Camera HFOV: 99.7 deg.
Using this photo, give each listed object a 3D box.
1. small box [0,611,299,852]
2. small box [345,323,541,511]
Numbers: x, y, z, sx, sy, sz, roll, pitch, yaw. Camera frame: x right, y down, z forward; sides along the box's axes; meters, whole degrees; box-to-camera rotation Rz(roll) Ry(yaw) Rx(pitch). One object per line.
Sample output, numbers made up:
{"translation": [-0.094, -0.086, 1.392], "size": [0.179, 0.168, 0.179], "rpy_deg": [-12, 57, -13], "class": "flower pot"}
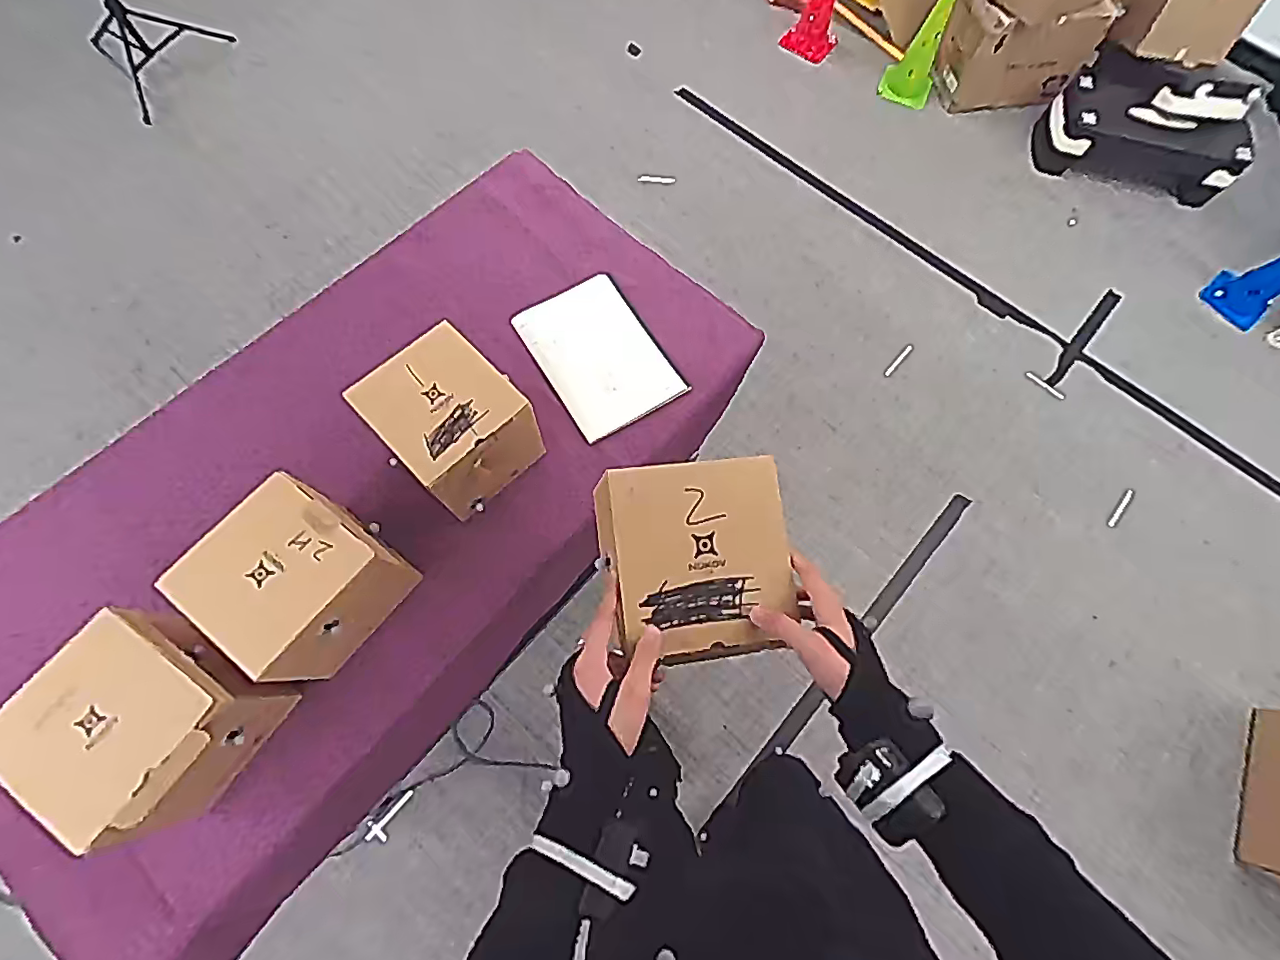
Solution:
{"translation": [-0.550, 0.274, 0.626], "size": [0.179, 0.176, 0.168], "rpy_deg": [33, 72, 9], "class": "small box"}
{"translation": [-0.259, -0.075, 0.760], "size": [0.179, 0.176, 0.168], "rpy_deg": [44, 74, 12], "class": "small box"}
